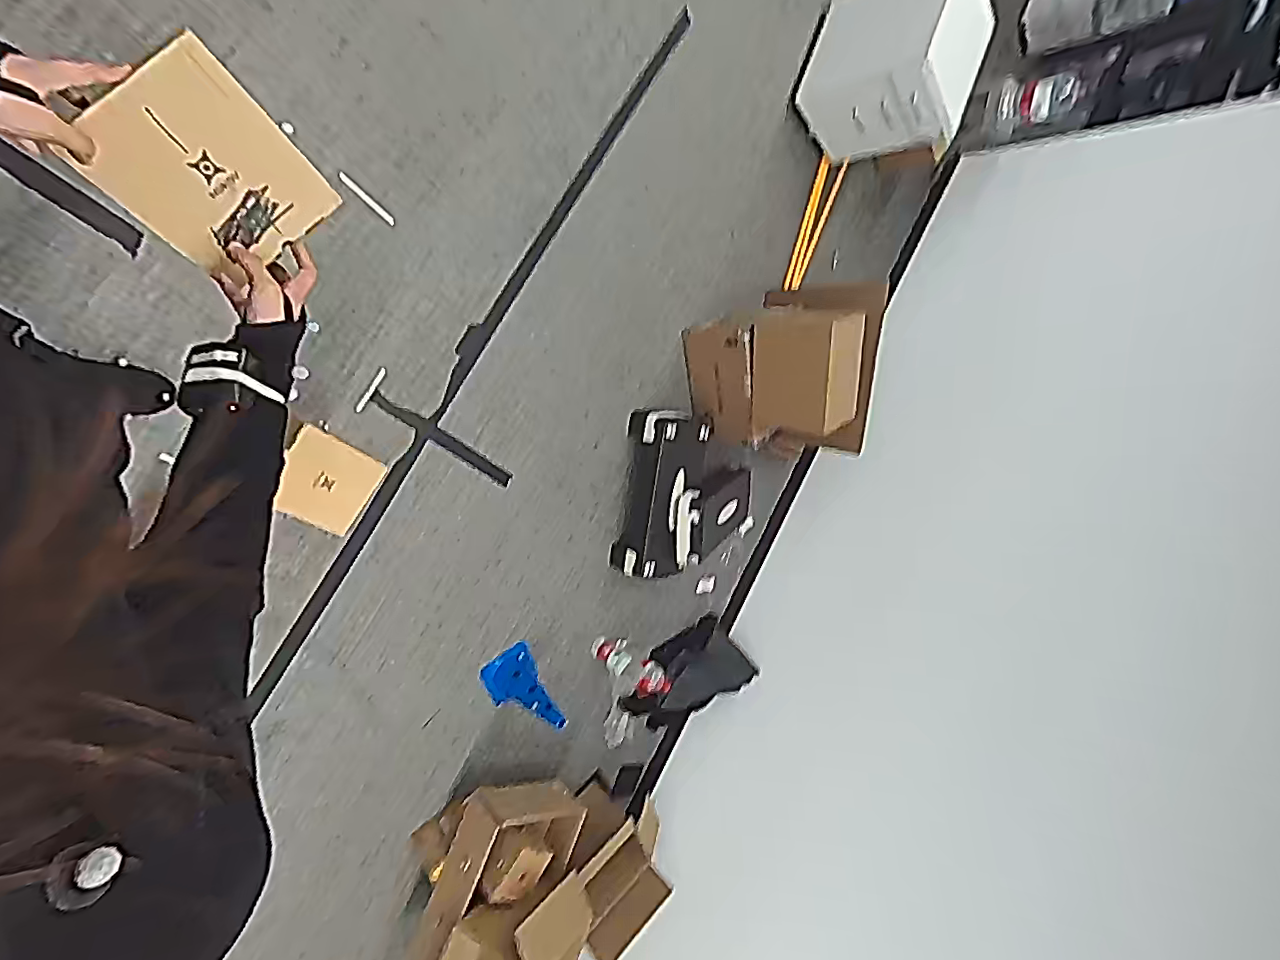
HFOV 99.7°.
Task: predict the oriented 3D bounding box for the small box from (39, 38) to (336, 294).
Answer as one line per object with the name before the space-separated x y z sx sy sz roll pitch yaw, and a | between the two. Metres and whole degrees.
small box | -0.484 -0.347 0.597 0.168 0.176 0.179 -45 141 -5

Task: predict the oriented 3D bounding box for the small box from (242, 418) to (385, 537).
small box | -0.666 -0.011 1.101 0.179 0.176 0.168 39 76 -42

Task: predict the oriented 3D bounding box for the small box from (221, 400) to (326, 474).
small box | -0.889 -0.082 1.330 0.179 0.176 0.168 35 79 -42
